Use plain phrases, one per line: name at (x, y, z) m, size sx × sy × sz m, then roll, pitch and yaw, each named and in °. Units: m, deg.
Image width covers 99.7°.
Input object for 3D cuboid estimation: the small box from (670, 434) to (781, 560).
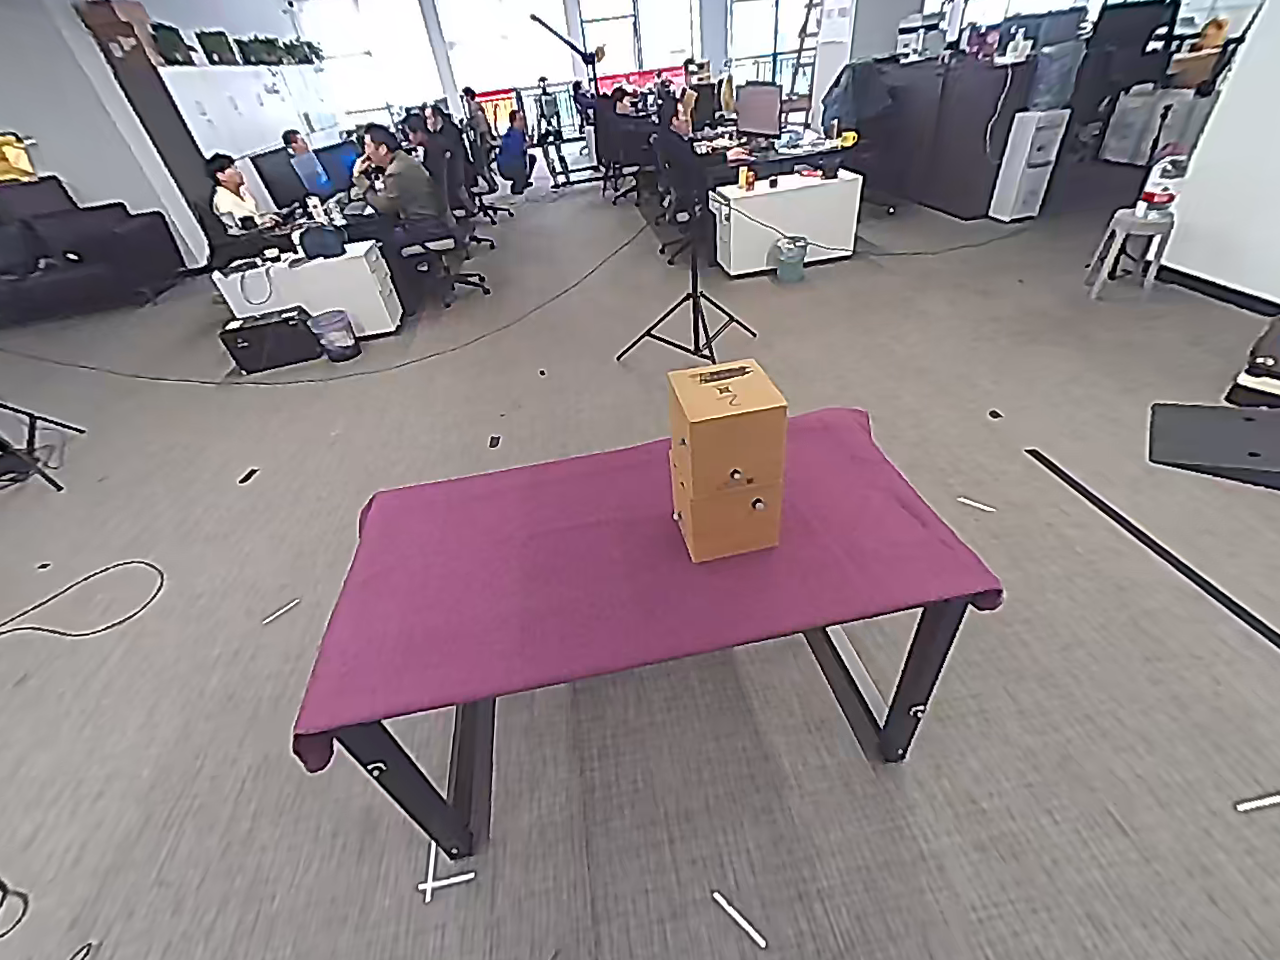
small box at (0.165, 0.034, 1.079) m, size 0.179 × 0.176 × 0.168 m, roll -12°, pitch 38°, yaw -4°
